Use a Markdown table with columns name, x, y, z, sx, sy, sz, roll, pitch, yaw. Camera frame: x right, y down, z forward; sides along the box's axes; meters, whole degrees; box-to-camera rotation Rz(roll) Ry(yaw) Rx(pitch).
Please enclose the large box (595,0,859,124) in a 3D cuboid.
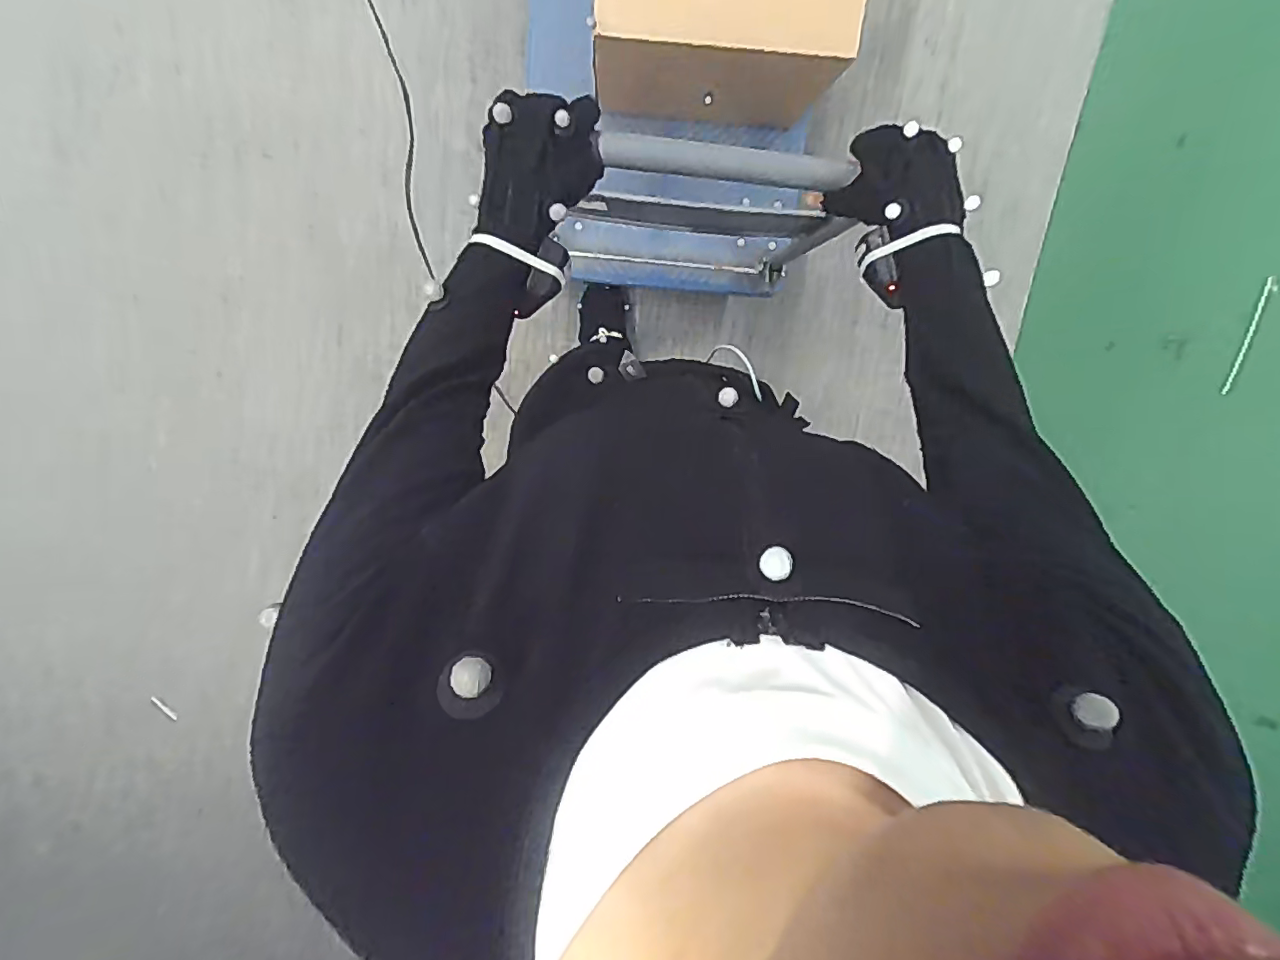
| name | x | y | z | sx | sy | sz | roll | pitch | yaw |
| --- | --- | --- | --- | --- | --- | --- | --- | --- | --- |
| large box | 0.136 | -0.847 | 0.930 | 0.408 | 0.320 | 0.320 | 3 | 105 | -2 |
